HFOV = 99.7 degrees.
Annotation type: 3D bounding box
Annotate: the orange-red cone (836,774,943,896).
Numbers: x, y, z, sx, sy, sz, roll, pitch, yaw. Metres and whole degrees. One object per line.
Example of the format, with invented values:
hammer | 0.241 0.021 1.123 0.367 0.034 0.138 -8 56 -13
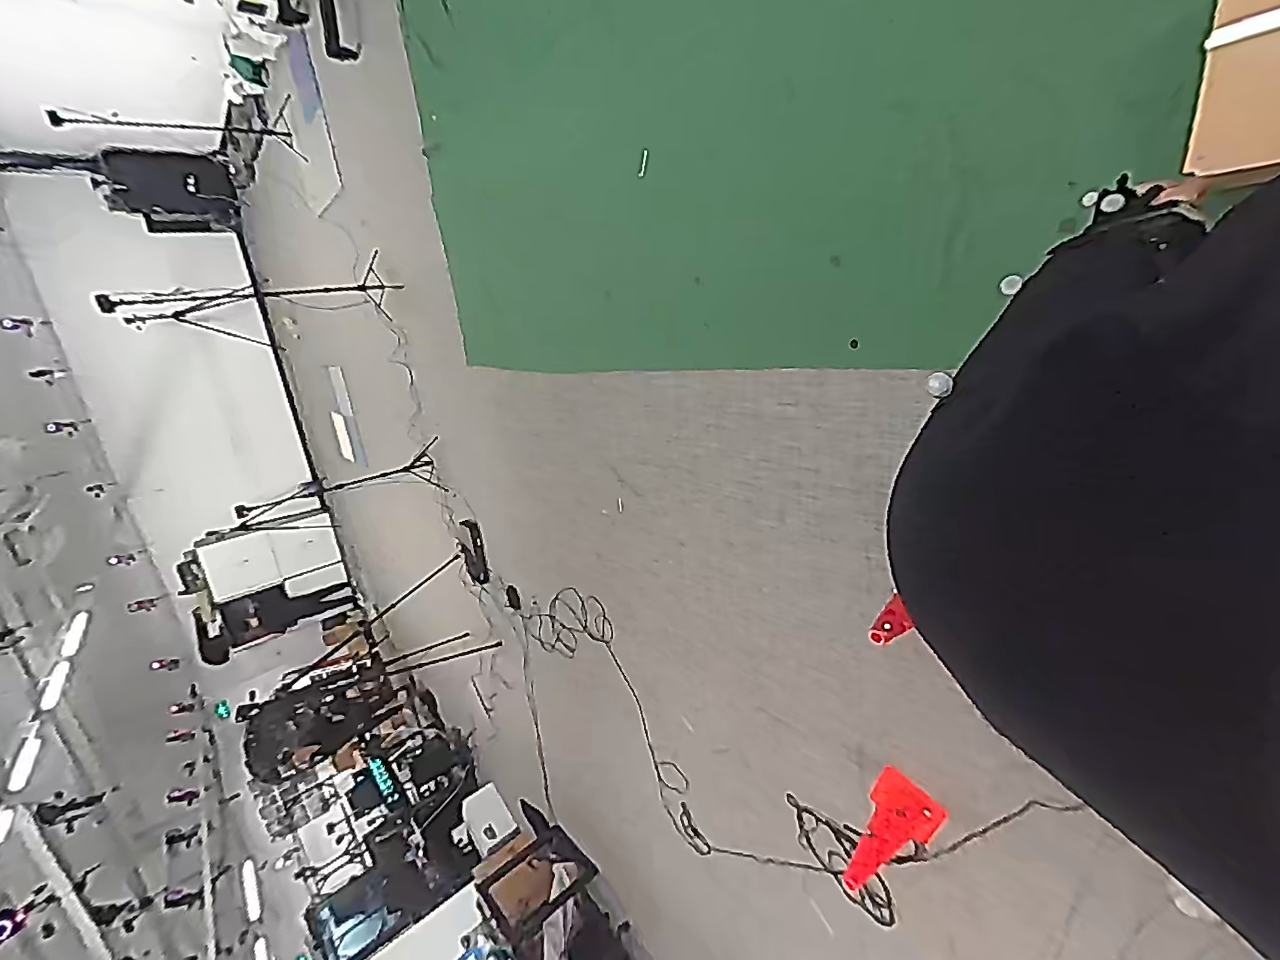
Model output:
orange-red cone | 0.691 1.086 1.595 0.199 0.360 0.198 38 131 38
